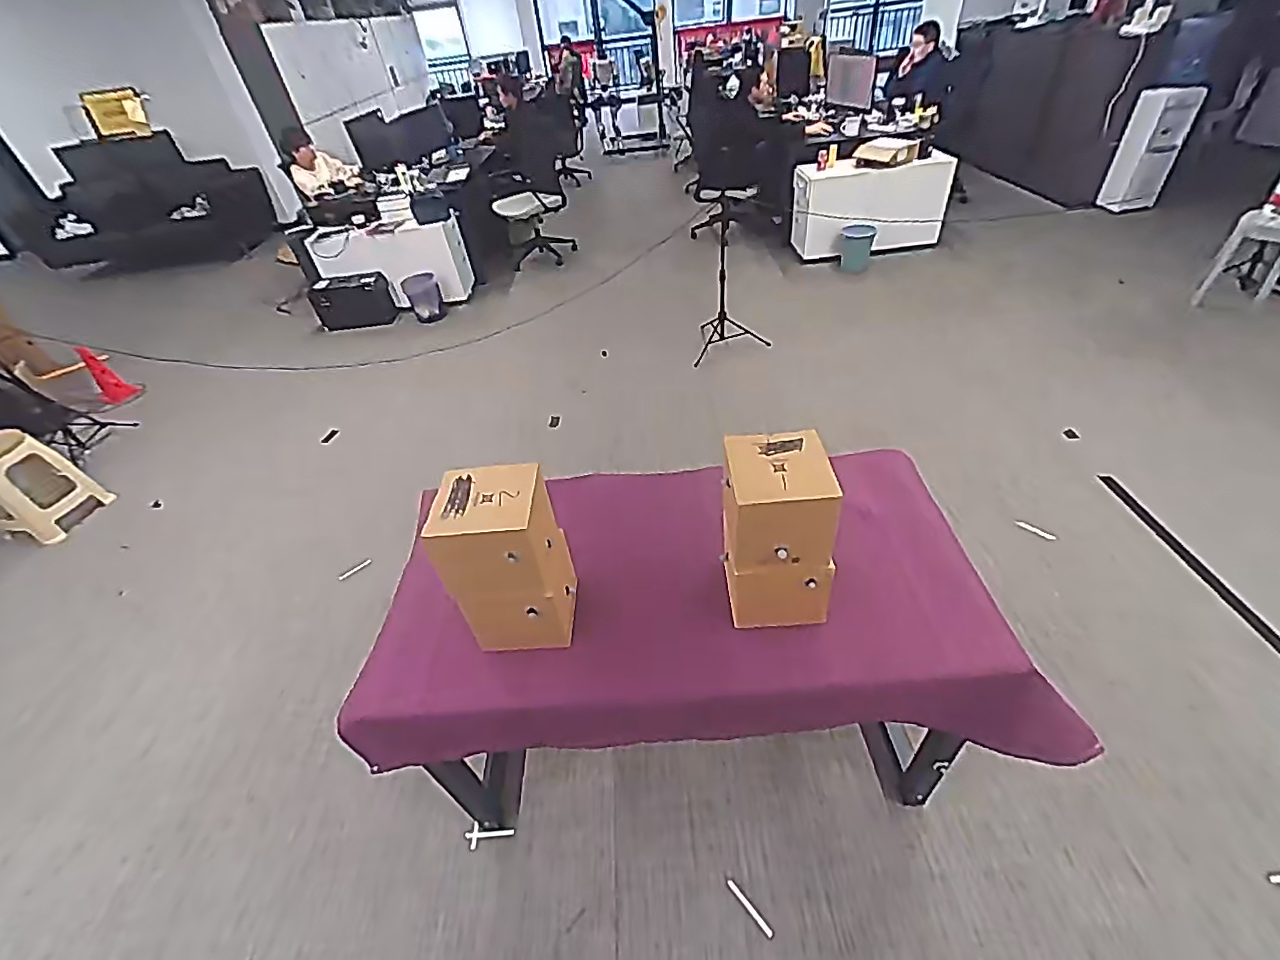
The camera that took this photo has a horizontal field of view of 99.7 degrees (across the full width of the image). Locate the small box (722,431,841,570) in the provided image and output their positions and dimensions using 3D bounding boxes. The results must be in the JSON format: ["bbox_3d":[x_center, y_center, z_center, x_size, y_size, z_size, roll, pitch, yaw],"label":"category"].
[{"bbox_3d":[0.235,0.035,0.947,0.168,0.176,0.179,-5,42,4],"label":"small box"}]

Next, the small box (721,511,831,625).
[{"bbox_3d":[0.254,0.166,1.046,0.179,0.176,0.168,-5,41,3],"label":"small box"}]

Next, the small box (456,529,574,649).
[{"bbox_3d":[-0.232,0.216,1.062,0.179,0.176,0.168,-4,41,4],"label":"small box"}]
